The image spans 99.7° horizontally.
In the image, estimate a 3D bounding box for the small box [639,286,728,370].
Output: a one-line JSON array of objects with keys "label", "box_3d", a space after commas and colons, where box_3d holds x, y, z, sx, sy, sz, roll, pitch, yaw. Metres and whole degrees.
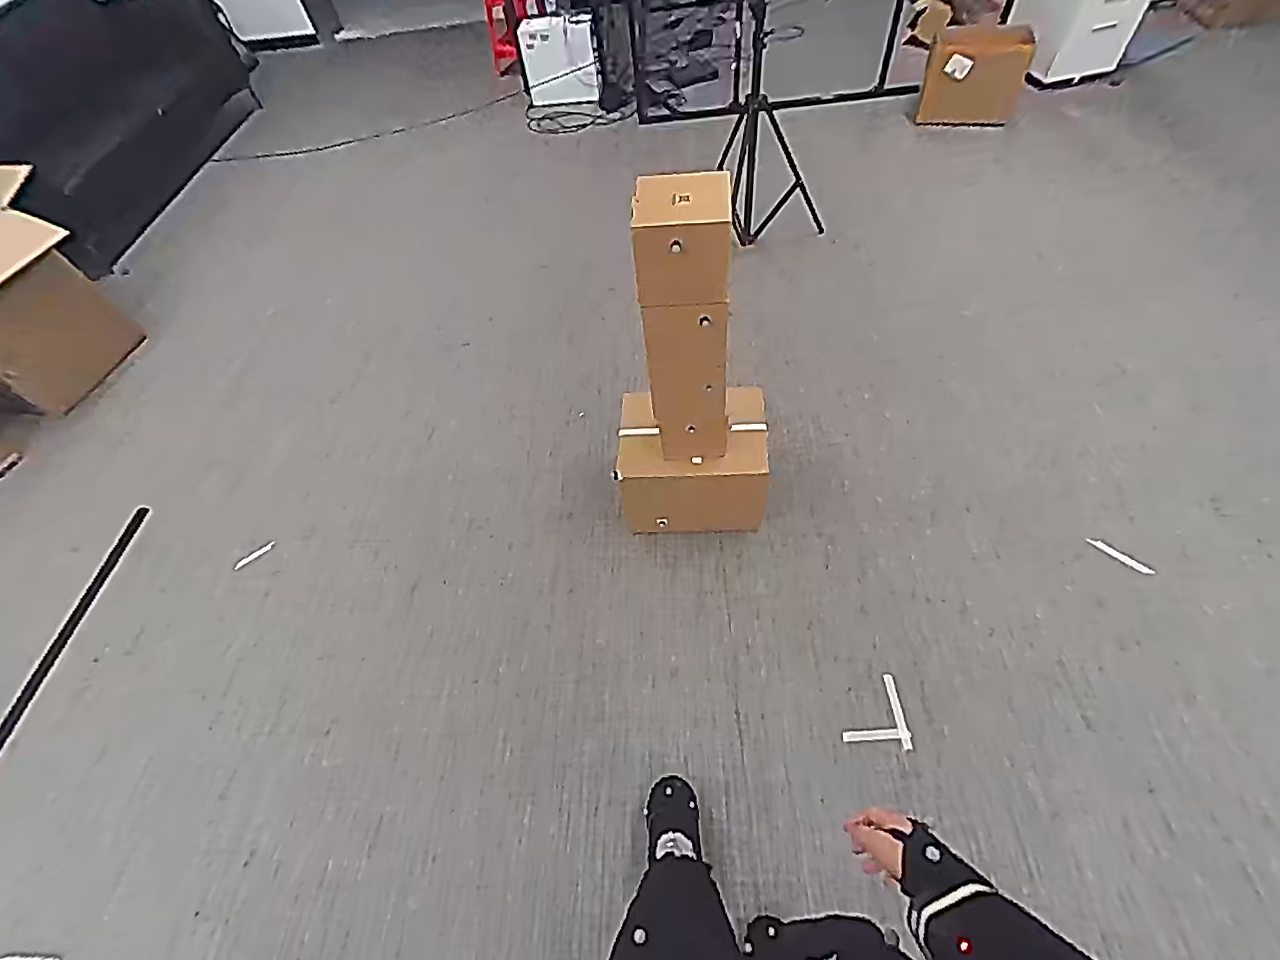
[{"label": "small box", "box_3d": [0.096, -0.353, 1.160, 0.179, 0.176, 0.168, -1, 56, 7]}]

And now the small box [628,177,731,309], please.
[{"label": "small box", "box_3d": [0.079, -0.445, 1.028, 0.179, 0.176, 0.168, 0, 56, 7]}]

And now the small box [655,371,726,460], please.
[{"label": "small box", "box_3d": [0.133, -0.165, 1.428, 0.179, 0.176, 0.168, -3, 56, 4]}]
